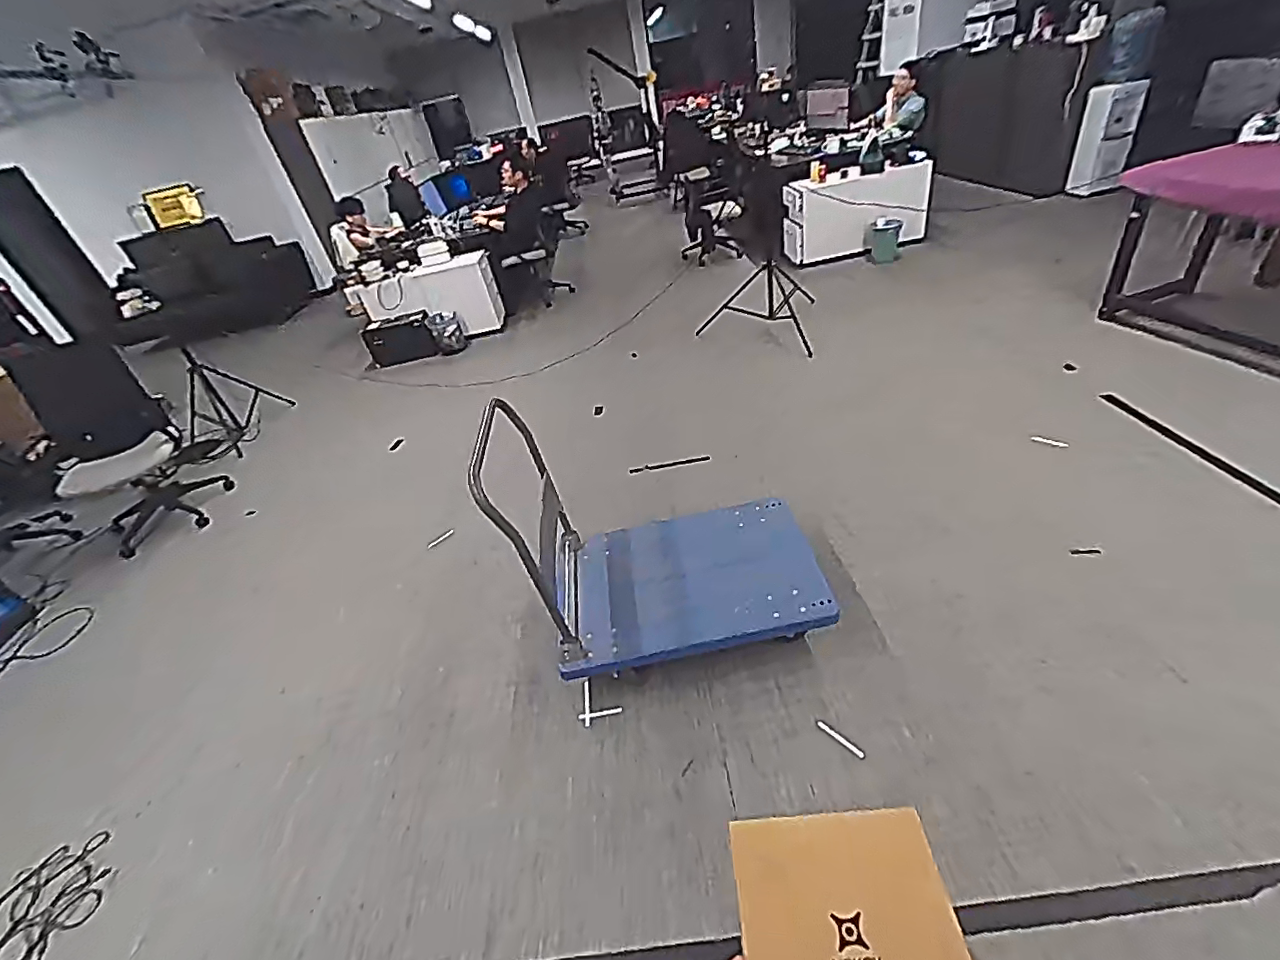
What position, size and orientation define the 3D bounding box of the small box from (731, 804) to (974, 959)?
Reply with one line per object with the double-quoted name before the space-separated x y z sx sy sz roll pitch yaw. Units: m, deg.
"small box" 0.170 0.406 0.458 0.168 0.176 0.179 -7 38 4
